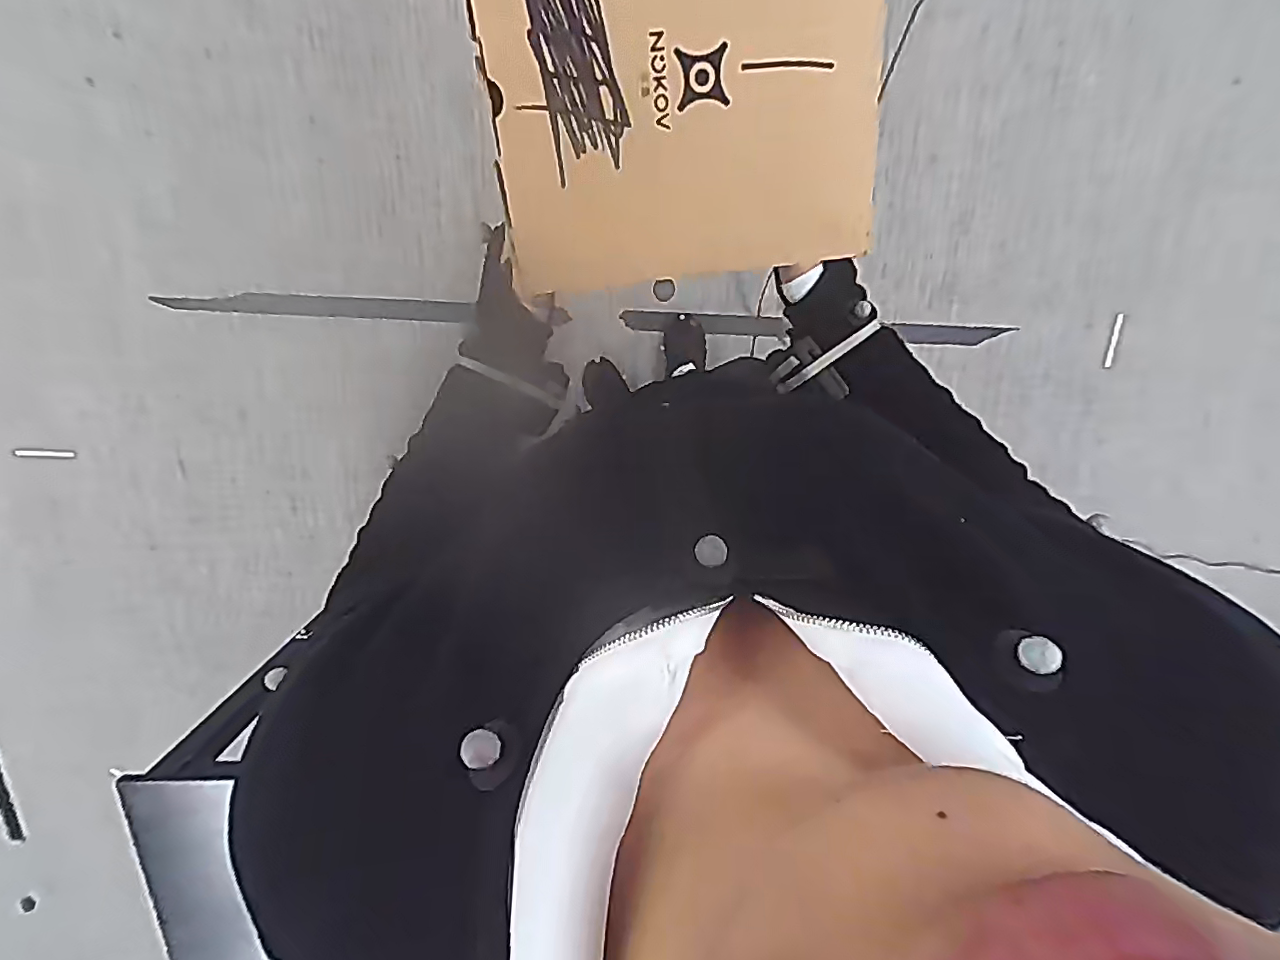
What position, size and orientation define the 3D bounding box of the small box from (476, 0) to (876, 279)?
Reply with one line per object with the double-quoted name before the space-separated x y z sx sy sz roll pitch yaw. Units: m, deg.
"small box" 0.016 -0.214 0.318 0.179 0.176 0.168 -6 113 0
